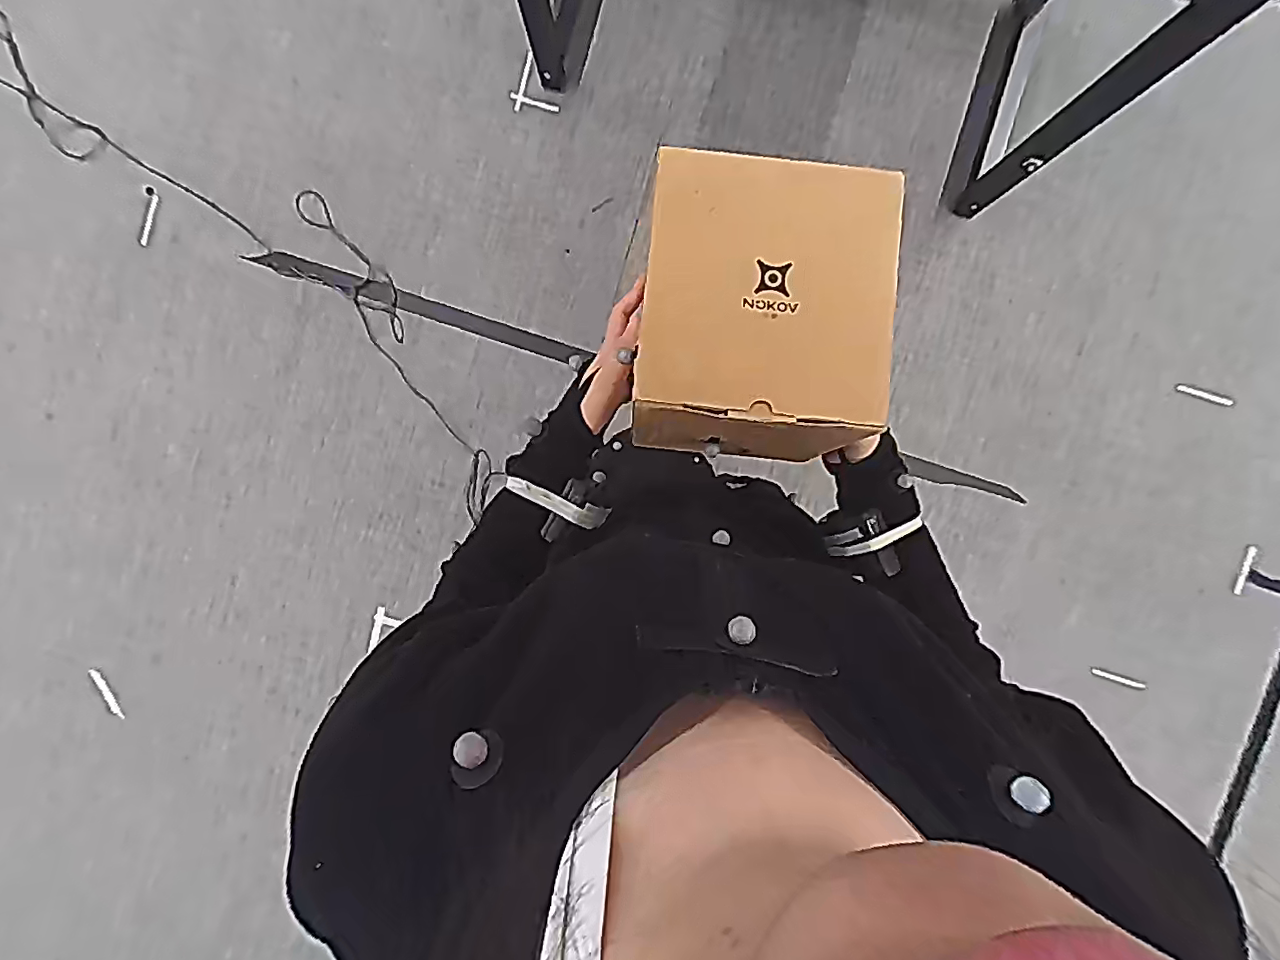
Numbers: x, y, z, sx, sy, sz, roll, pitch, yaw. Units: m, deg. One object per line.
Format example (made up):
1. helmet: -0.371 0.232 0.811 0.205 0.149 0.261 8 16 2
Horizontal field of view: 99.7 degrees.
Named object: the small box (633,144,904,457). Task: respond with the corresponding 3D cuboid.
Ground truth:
1. small box: 0.084 -0.121 0.430 0.168 0.176 0.179 5 86 -1
